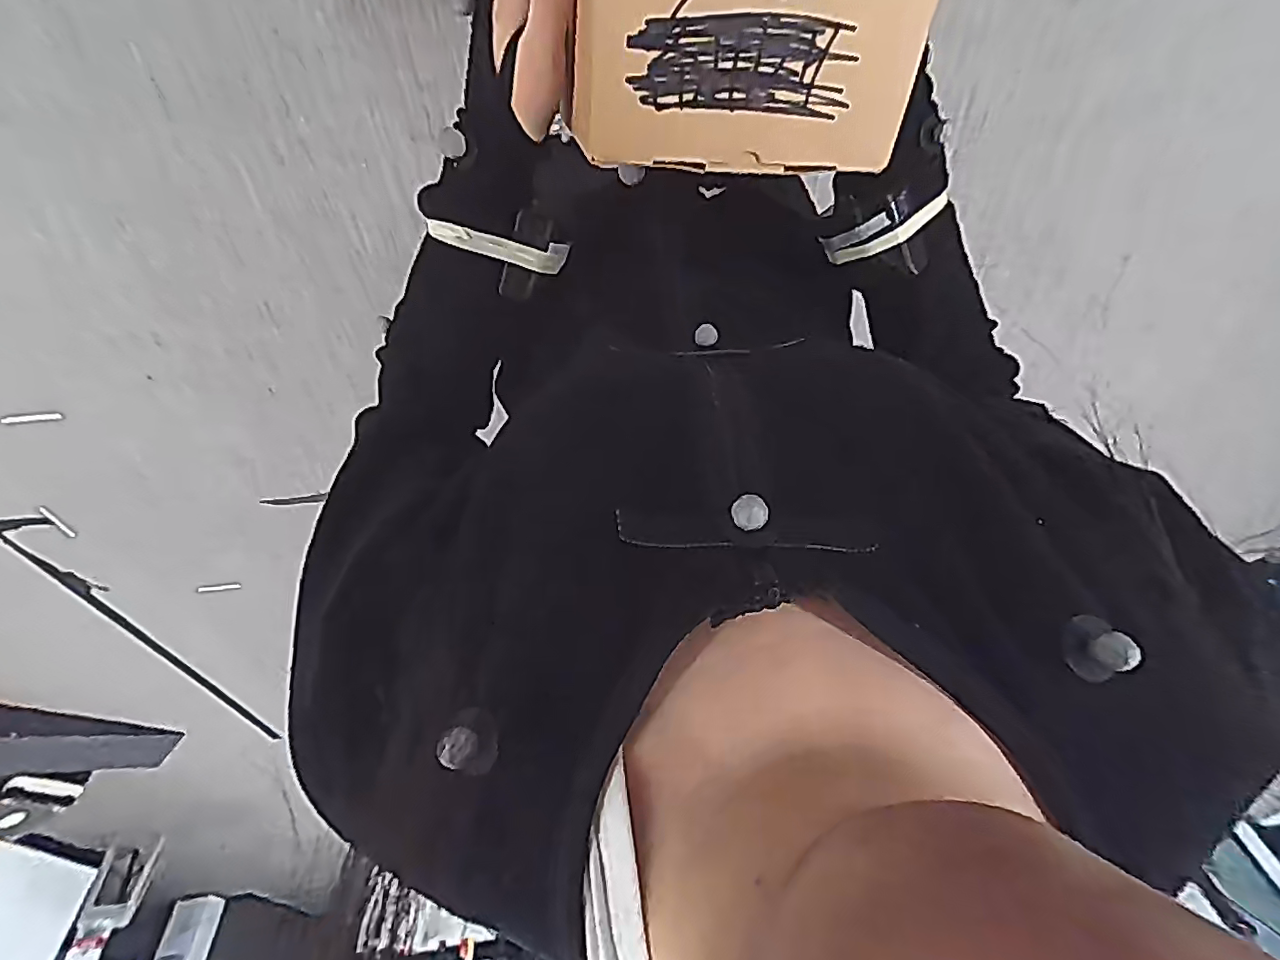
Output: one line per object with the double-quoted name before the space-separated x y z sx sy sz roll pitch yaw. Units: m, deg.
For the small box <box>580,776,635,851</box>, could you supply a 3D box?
"small box" -0.110 1.113 1.807 0.168 0.176 0.179 -5 134 -6
